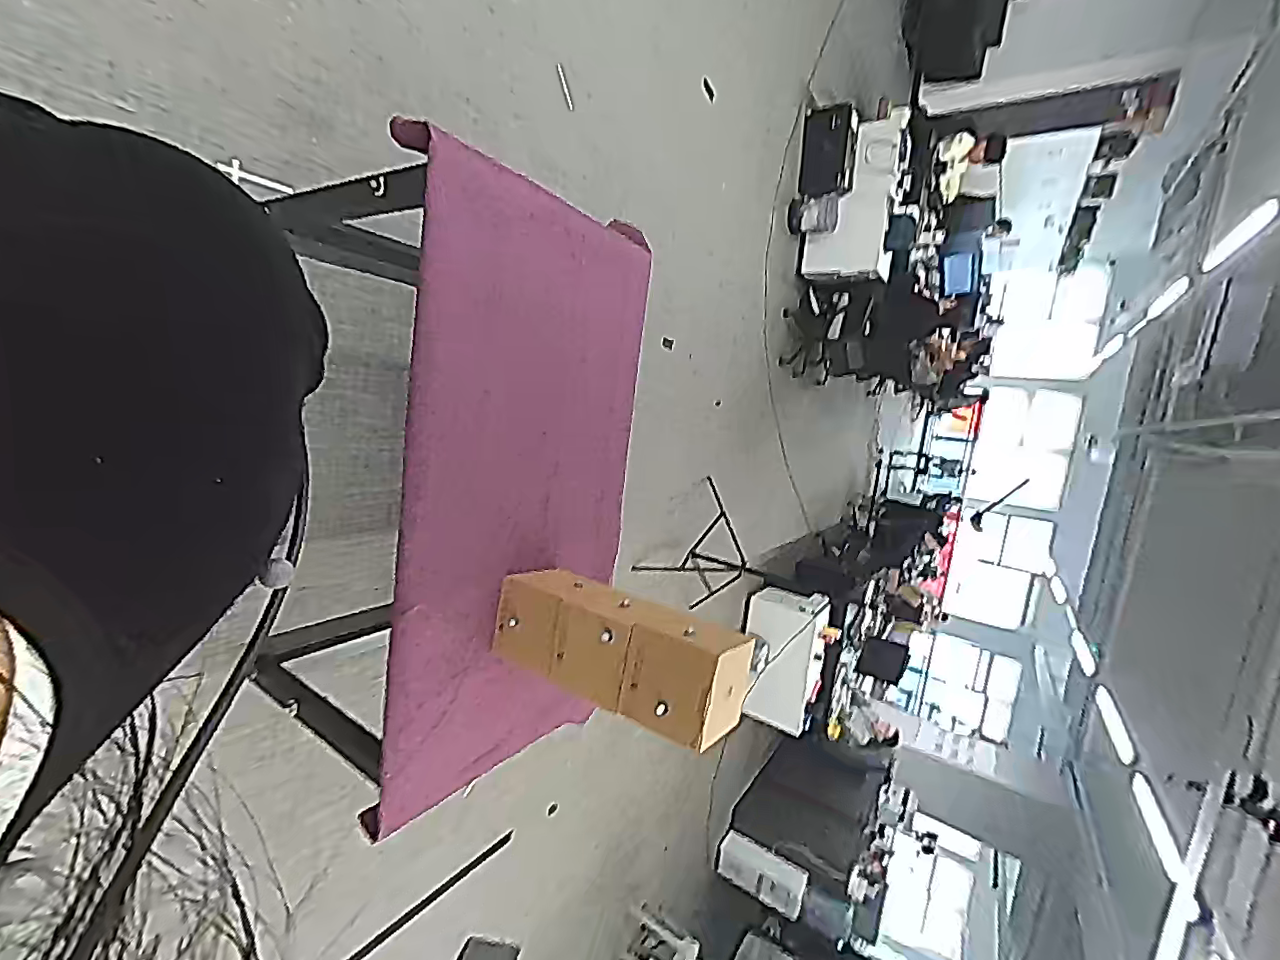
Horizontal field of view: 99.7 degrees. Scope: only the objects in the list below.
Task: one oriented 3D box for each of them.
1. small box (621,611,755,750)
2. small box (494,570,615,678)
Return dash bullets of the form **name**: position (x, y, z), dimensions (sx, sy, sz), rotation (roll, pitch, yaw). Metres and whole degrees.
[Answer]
- **small box**: position (0.086, 0.348, 0.977), dimensions (0.179, 0.176, 0.168), rotation (9, 94, -59)
- **small box**: position (-0.181, 0.296, 1.158), dimensions (0.179, 0.176, 0.168), rotation (6, 94, -57)
